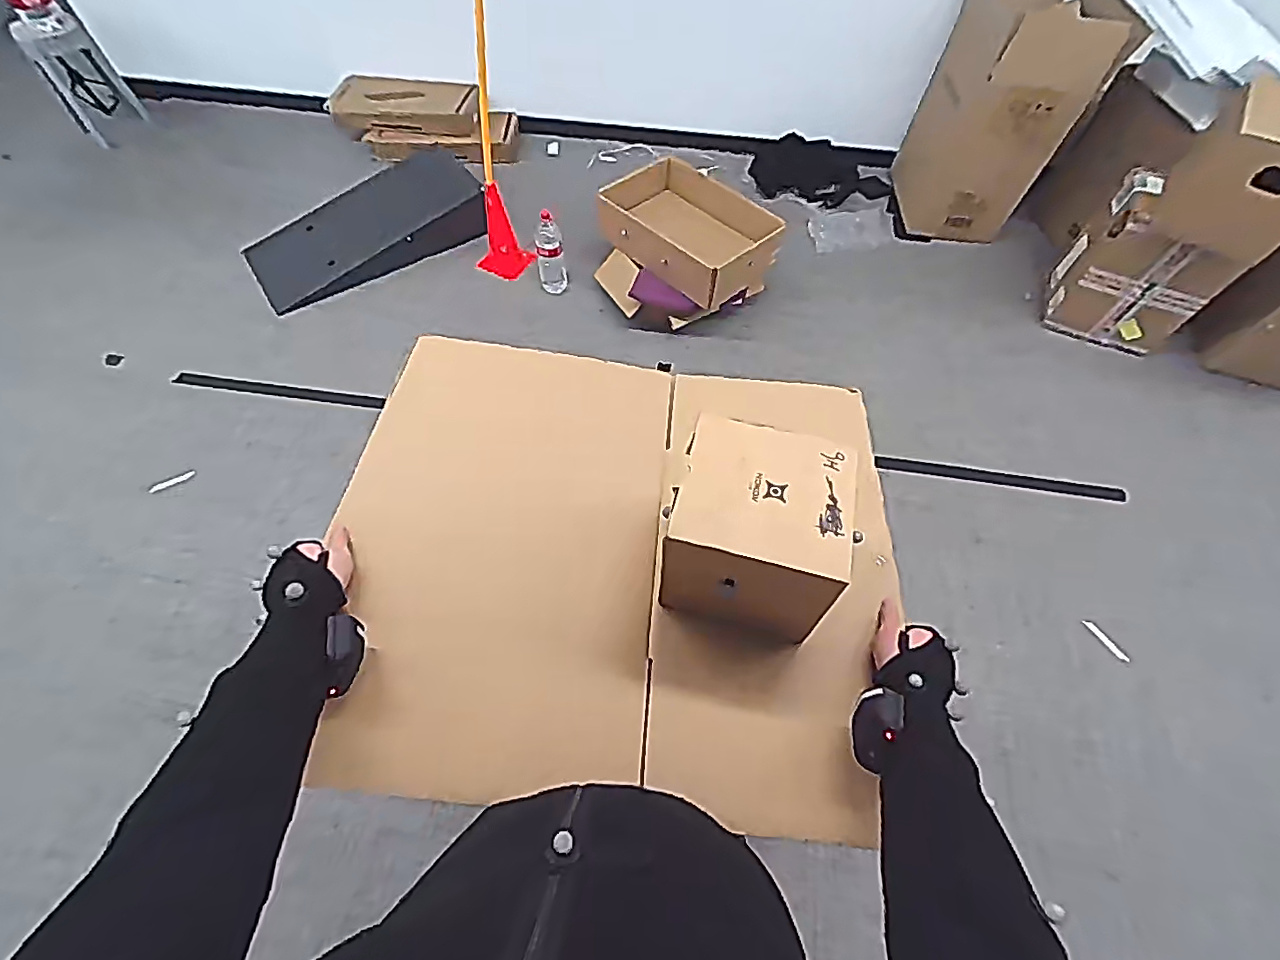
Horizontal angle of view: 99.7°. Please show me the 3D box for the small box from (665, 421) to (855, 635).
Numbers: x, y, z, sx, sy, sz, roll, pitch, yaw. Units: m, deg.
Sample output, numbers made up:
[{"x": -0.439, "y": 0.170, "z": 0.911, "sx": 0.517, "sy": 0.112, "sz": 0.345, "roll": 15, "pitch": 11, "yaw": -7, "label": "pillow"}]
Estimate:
[{"x": 0.129, "y": 0.060, "z": 0.621, "sx": 0.179, "sy": 0.176, "sz": 0.168, "roll": 13, "pitch": 56, "yaw": 9, "label": "small box"}]
